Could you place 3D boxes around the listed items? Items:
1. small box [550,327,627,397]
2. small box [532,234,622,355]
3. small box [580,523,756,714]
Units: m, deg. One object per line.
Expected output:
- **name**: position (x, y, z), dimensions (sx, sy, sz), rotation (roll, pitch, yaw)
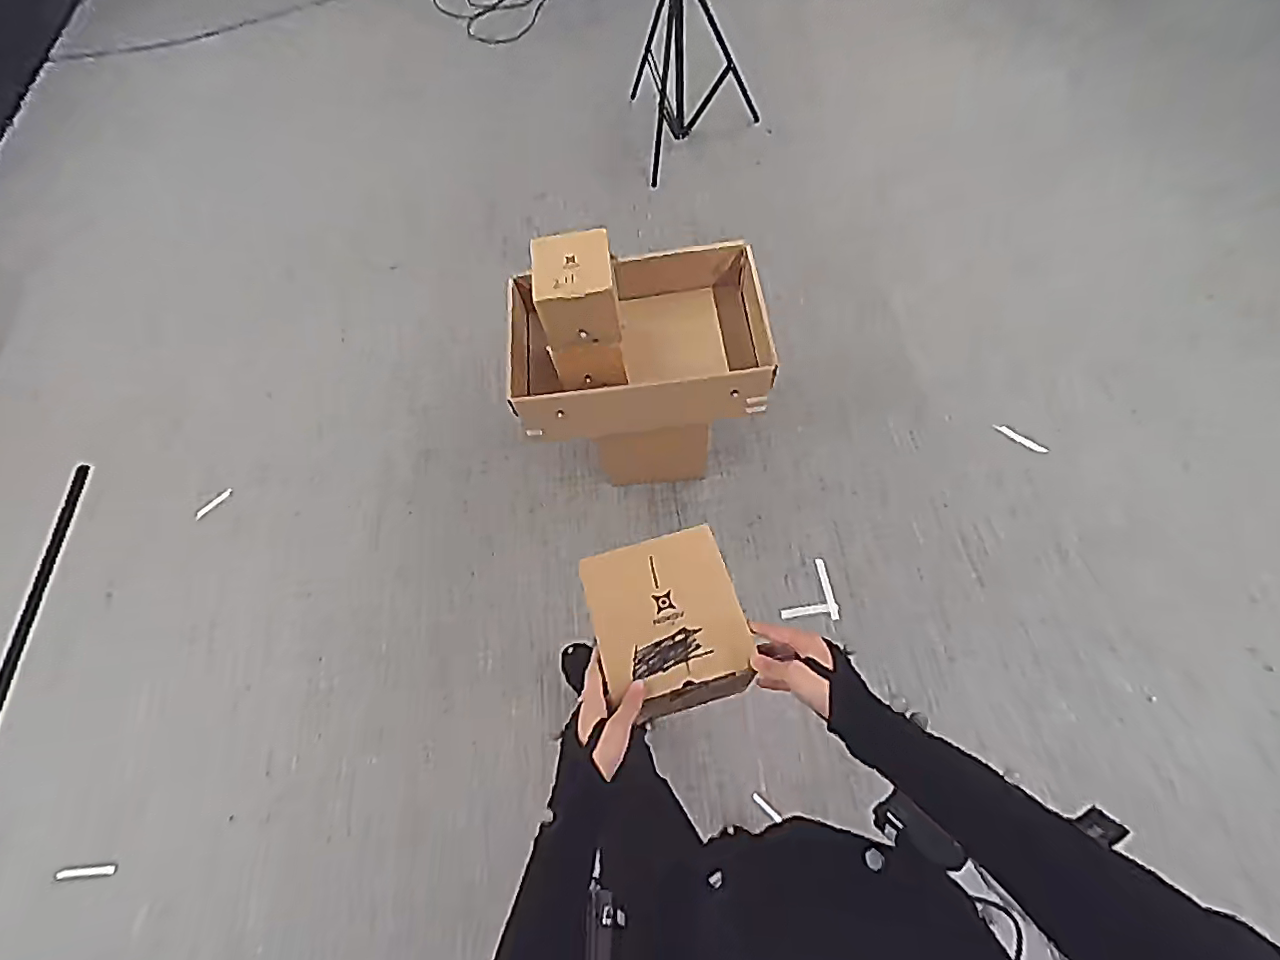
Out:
- **small box**: position (-0.127, -0.331, 1.336), dimensions (0.168, 0.176, 0.179), rotation (-7, 66, 2)
- **small box**: position (-0.136, -0.402, 1.188), dimensions (0.168, 0.176, 0.179), rotation (-8, 66, 2)
- **small box**: position (0.031, 0.182, 0.679), dimensions (0.168, 0.176, 0.179), rotation (-14, 60, -5)
